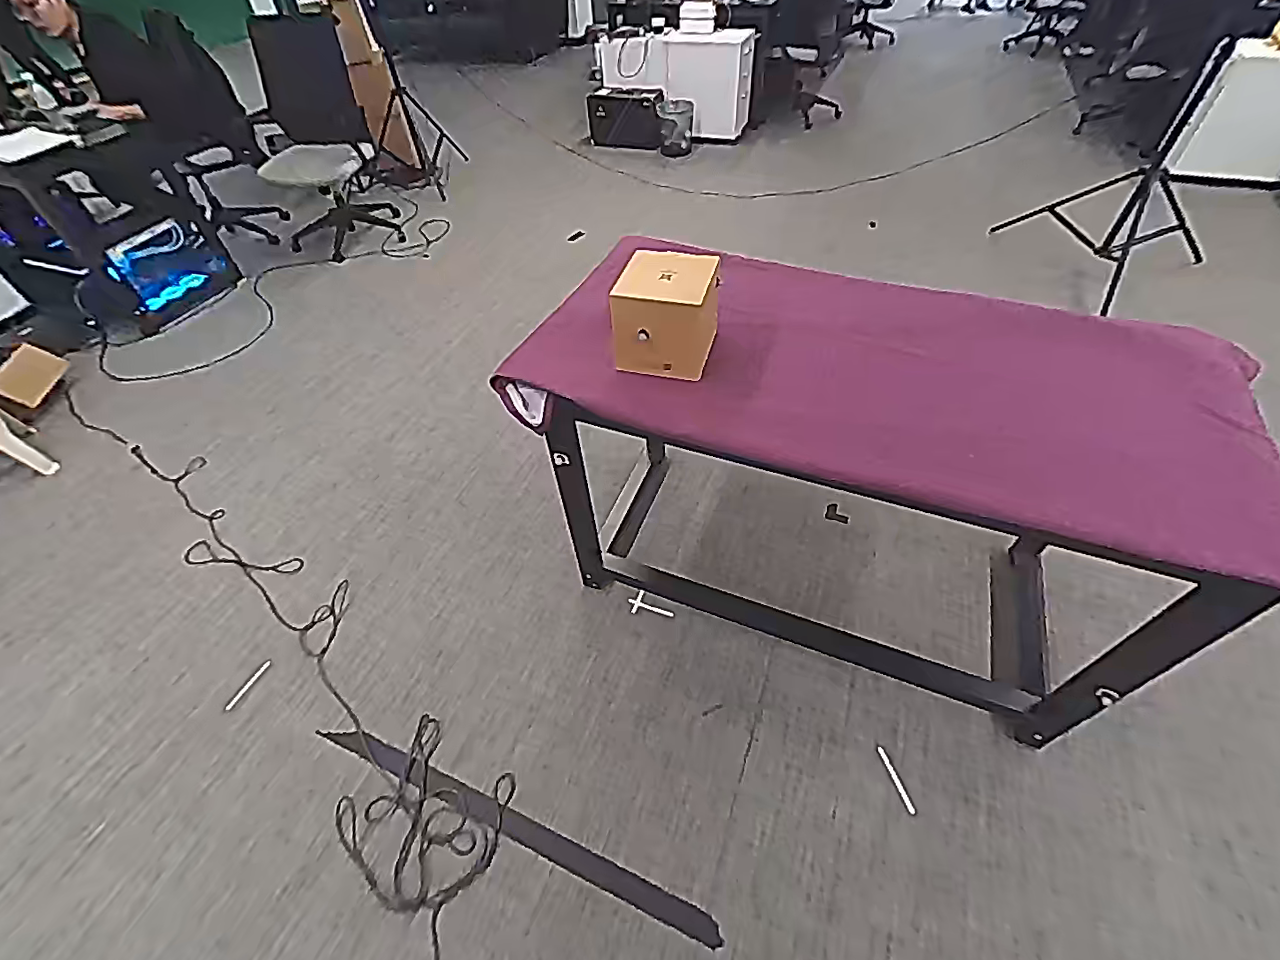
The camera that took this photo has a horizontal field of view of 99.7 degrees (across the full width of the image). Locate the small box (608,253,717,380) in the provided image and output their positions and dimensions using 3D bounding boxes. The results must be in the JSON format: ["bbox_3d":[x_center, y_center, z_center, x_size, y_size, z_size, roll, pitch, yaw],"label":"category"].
[{"bbox_3d":[0.050,-0.313,1.040,0.168,0.176,0.179,10,49,13],"label":"small box"}]
